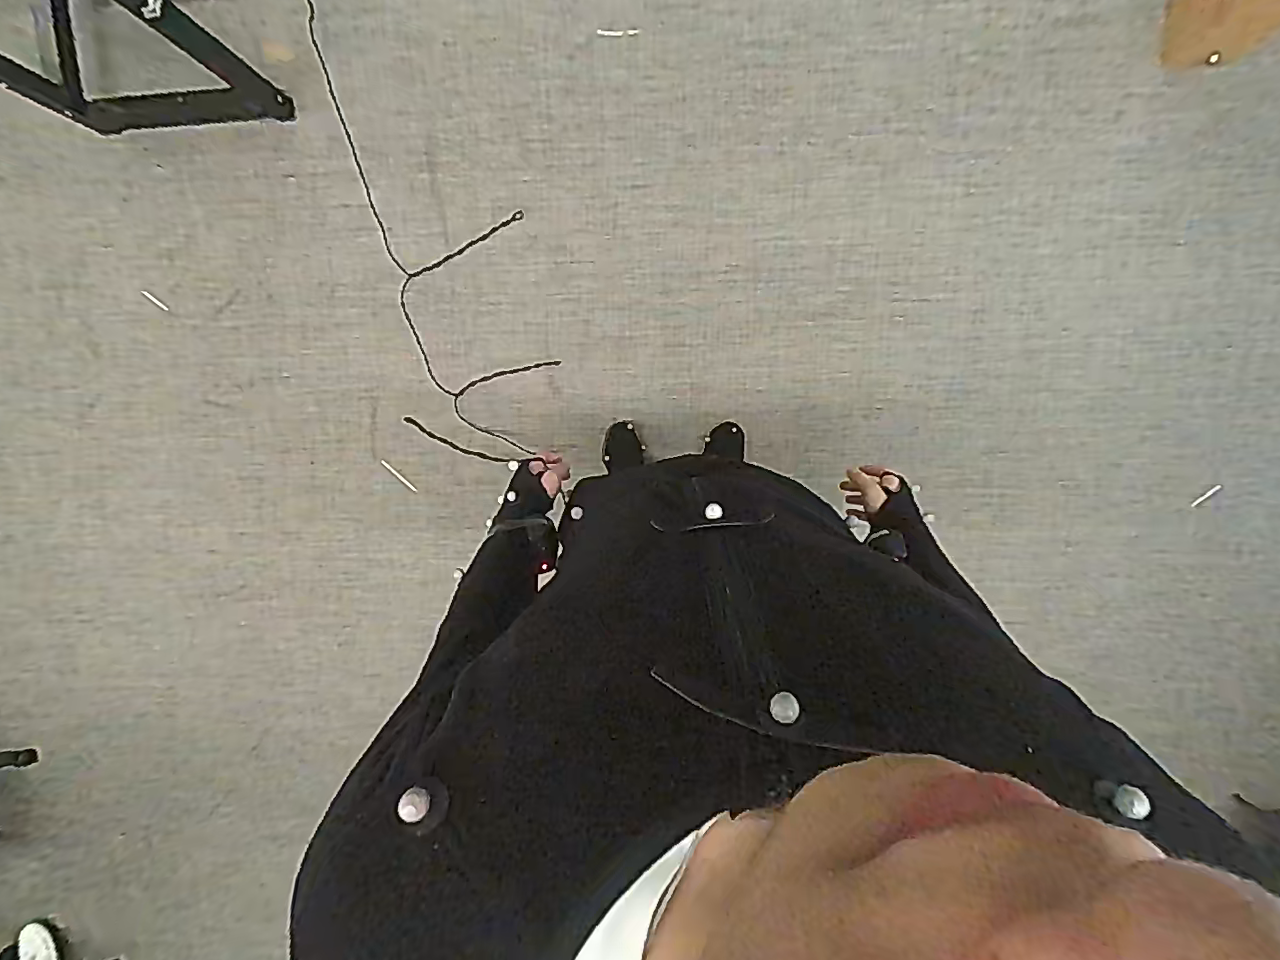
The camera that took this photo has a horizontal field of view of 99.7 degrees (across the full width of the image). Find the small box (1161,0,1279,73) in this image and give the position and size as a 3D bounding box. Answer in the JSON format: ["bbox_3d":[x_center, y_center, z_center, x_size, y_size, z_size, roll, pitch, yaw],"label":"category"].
[{"bbox_3d":[1.462,-1.163,1.348,0.168,0.176,0.179,0,97,3],"label":"small box"}]
